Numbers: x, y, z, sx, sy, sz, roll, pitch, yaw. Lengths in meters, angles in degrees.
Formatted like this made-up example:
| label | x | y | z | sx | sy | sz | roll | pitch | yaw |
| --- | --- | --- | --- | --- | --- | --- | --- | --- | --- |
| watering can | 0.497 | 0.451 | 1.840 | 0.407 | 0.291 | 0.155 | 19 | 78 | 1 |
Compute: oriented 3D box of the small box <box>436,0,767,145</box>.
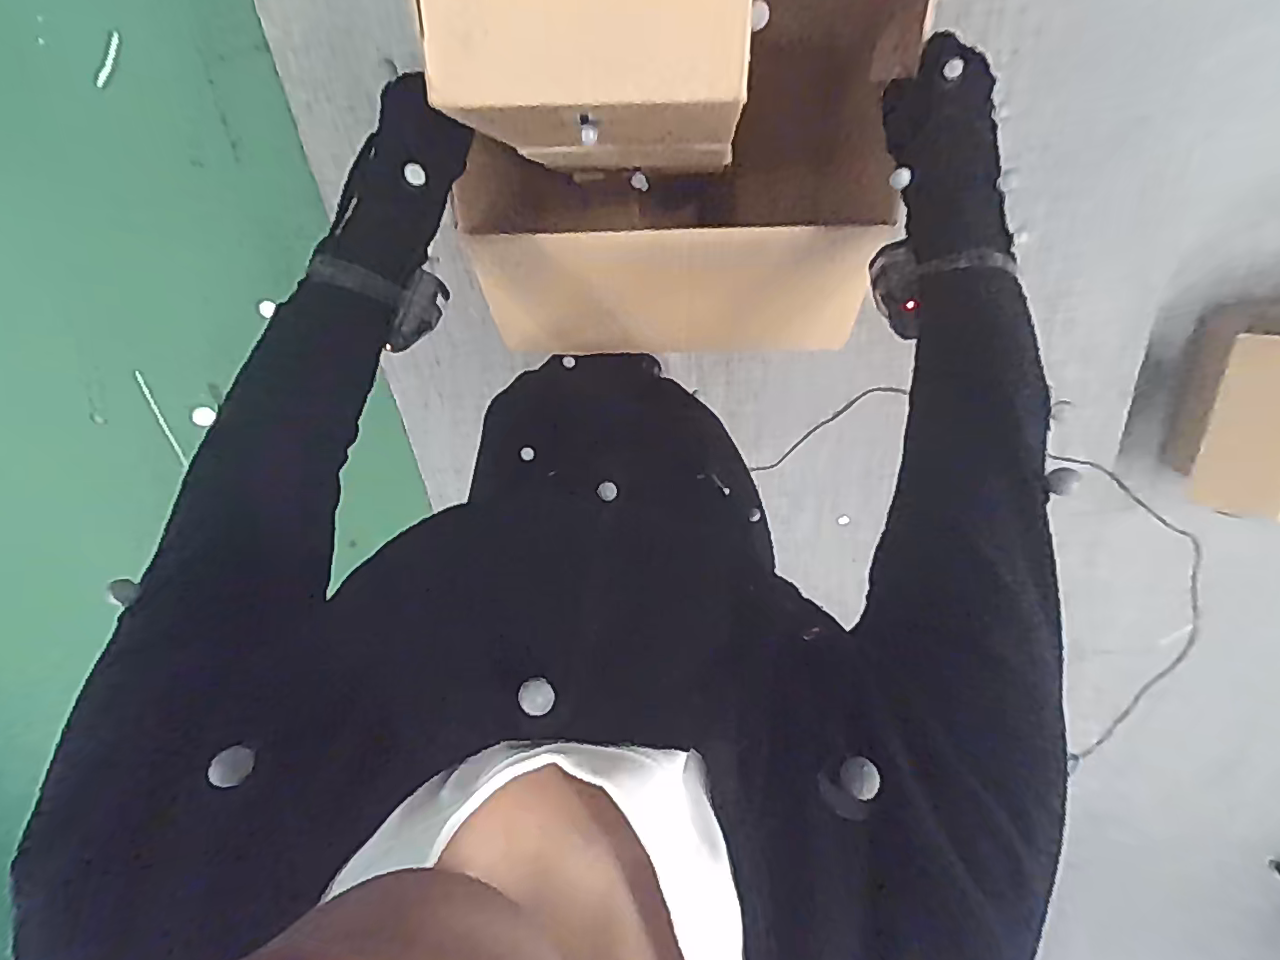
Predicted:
| label | x | y | z | sx | sy | sz | roll | pitch | yaw |
| --- | --- | --- | --- | --- | --- | --- | --- | --- | --- |
| small box | -0.015 | -0.314 | 0.334 | 0.179 | 0.176 | 0.168 | 1 | 116 | 6 |
